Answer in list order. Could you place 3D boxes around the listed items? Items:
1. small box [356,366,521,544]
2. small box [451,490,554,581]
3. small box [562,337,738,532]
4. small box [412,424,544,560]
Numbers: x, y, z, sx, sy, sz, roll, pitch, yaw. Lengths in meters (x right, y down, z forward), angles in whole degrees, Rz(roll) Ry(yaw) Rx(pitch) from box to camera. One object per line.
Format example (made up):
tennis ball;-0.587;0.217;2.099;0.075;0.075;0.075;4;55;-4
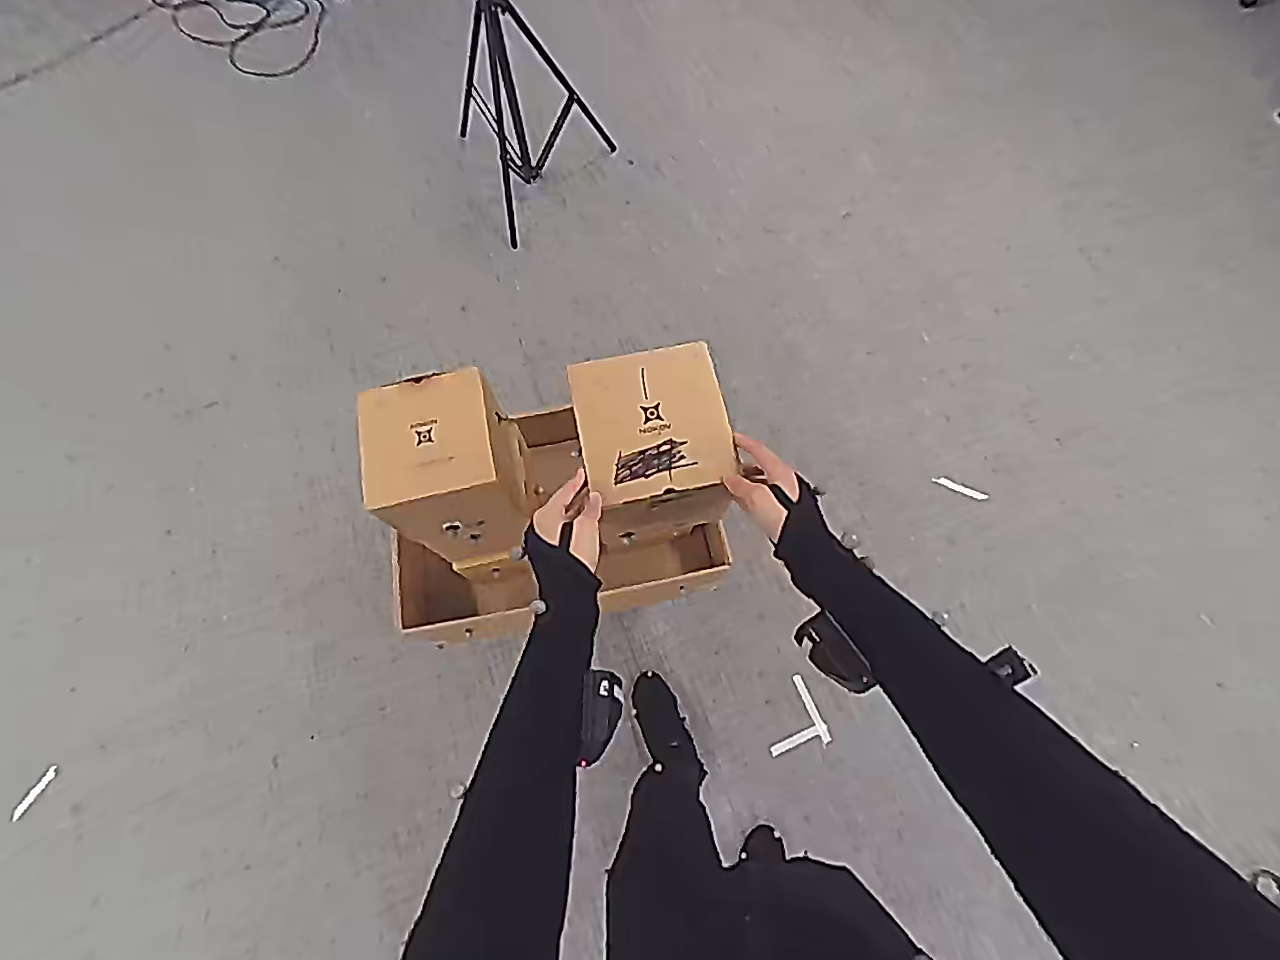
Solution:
small box;-0.276;-0.028;0.761;0.168;0.176;0.179;-13;69;-4
small box;-0.272;0.094;1.065;0.168;0.176;0.179;-12;69;-5
small box;0.009;-0.043;0.661;0.168;0.176;0.179;-11;71;-4
small box;-0.270;0.028;0.915;0.179;0.176;0.168;-11;70;-5
